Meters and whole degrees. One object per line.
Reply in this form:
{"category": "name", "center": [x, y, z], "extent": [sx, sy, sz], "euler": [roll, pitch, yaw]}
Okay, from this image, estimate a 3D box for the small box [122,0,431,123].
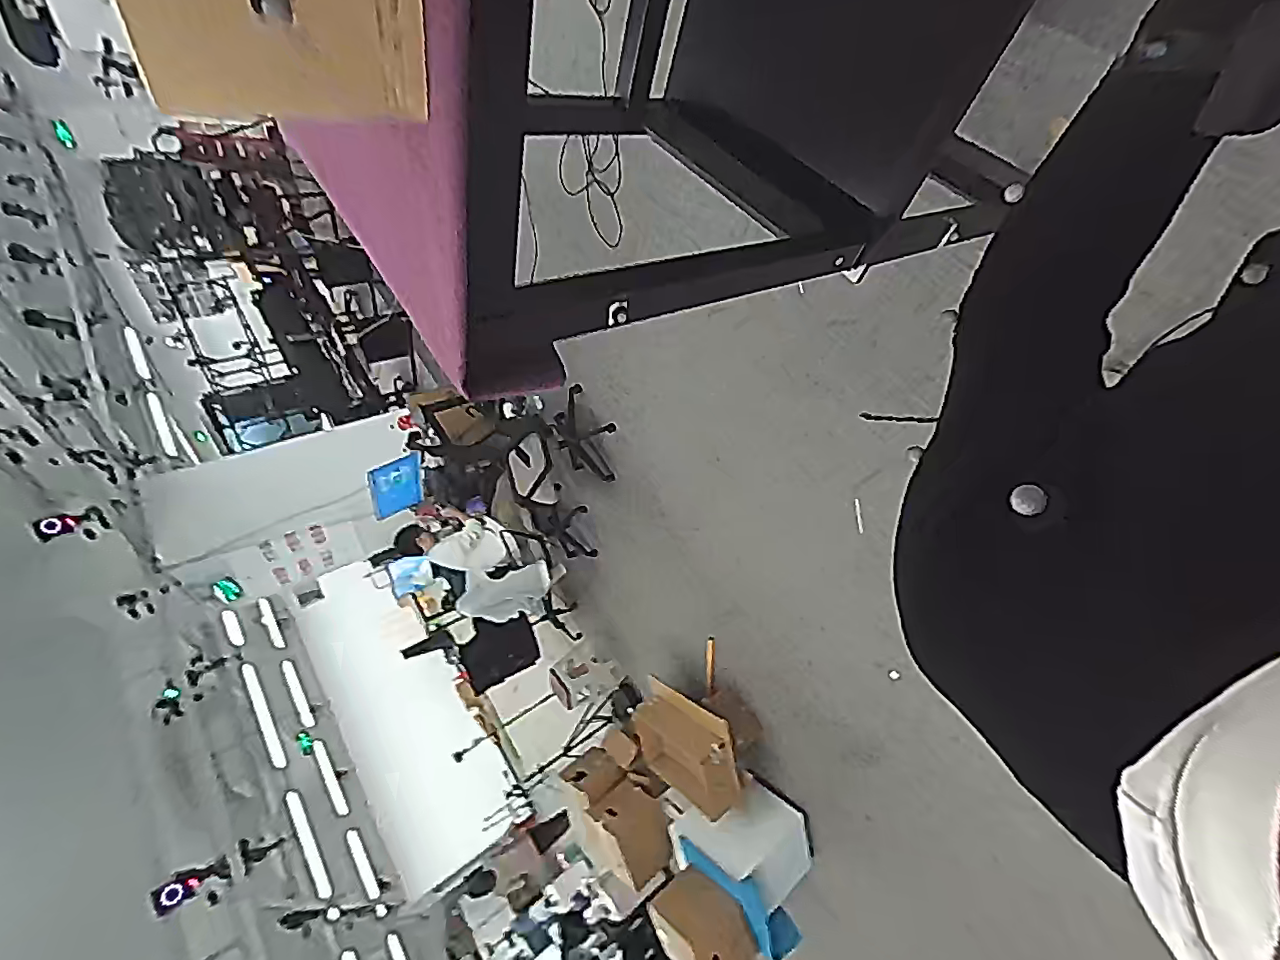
{"category": "small box", "center": [-0.243, -0.355, 0.343], "extent": [0.179, 0.176, 0.168], "euler": [52, 146, 25]}
